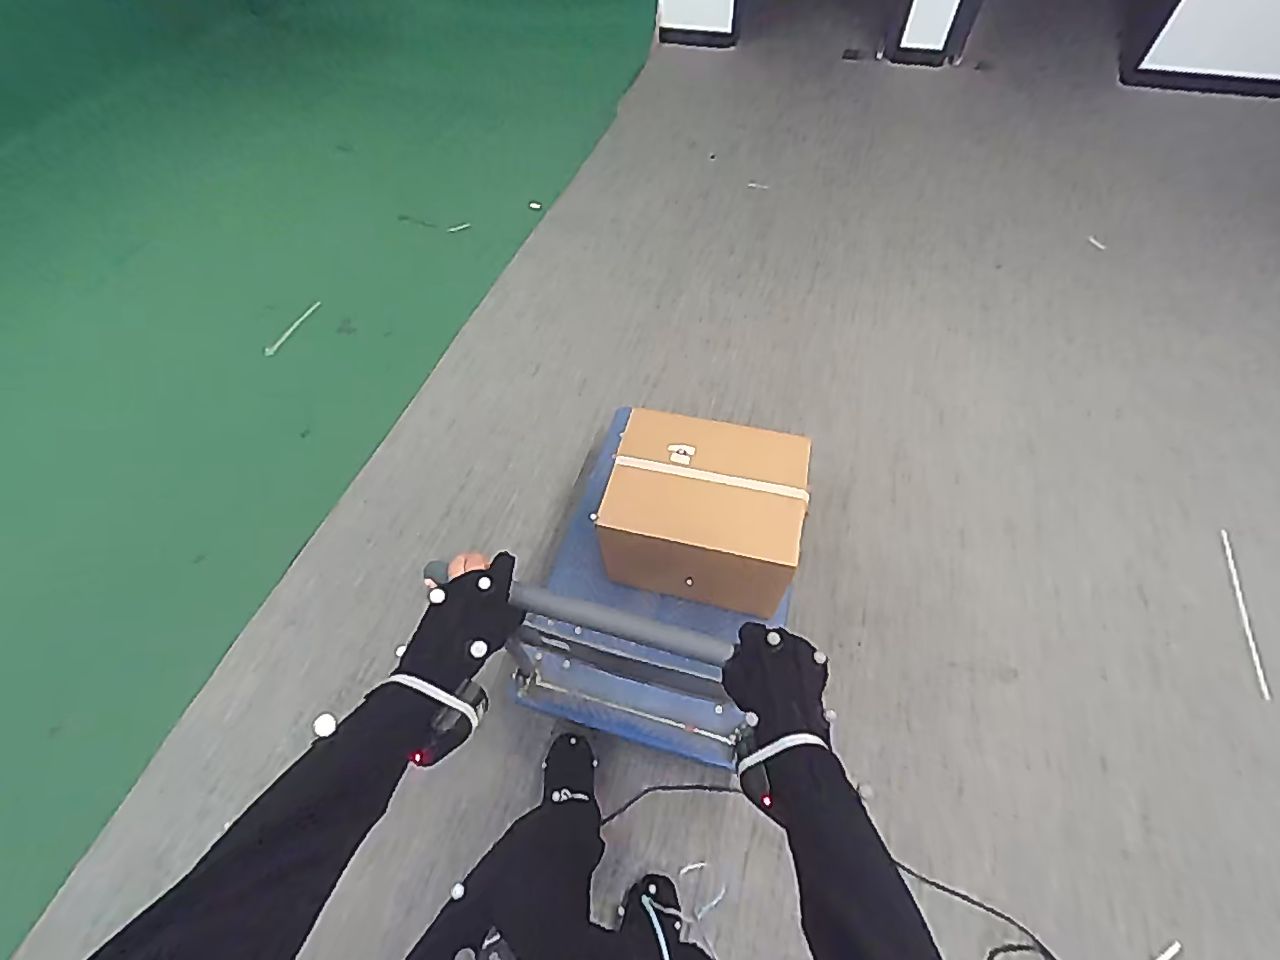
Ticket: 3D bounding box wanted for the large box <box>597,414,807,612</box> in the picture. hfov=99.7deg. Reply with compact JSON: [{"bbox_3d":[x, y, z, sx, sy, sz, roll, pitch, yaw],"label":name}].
[{"bbox_3d":[0.151,0.084,1.266,0.408,0.320,0.320,11,58,11],"label":"large box"}]
